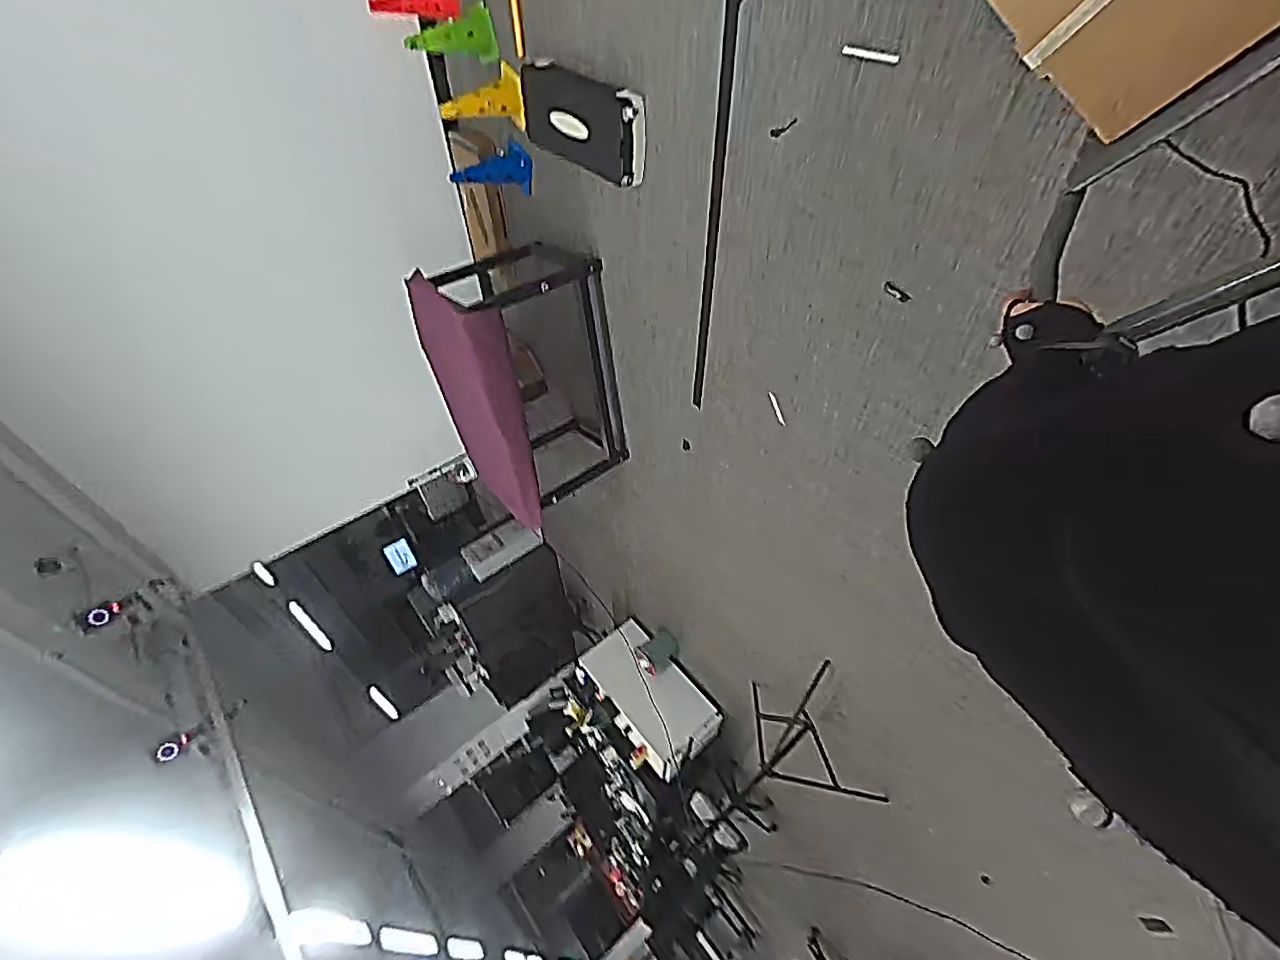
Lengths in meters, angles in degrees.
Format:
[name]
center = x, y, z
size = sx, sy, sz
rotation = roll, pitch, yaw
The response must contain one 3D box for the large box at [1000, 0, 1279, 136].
[large box]
center = 0.687, -0.709, 0.594
size = 0.320, 0.320, 0.408
rotation = 44, 153, -6
